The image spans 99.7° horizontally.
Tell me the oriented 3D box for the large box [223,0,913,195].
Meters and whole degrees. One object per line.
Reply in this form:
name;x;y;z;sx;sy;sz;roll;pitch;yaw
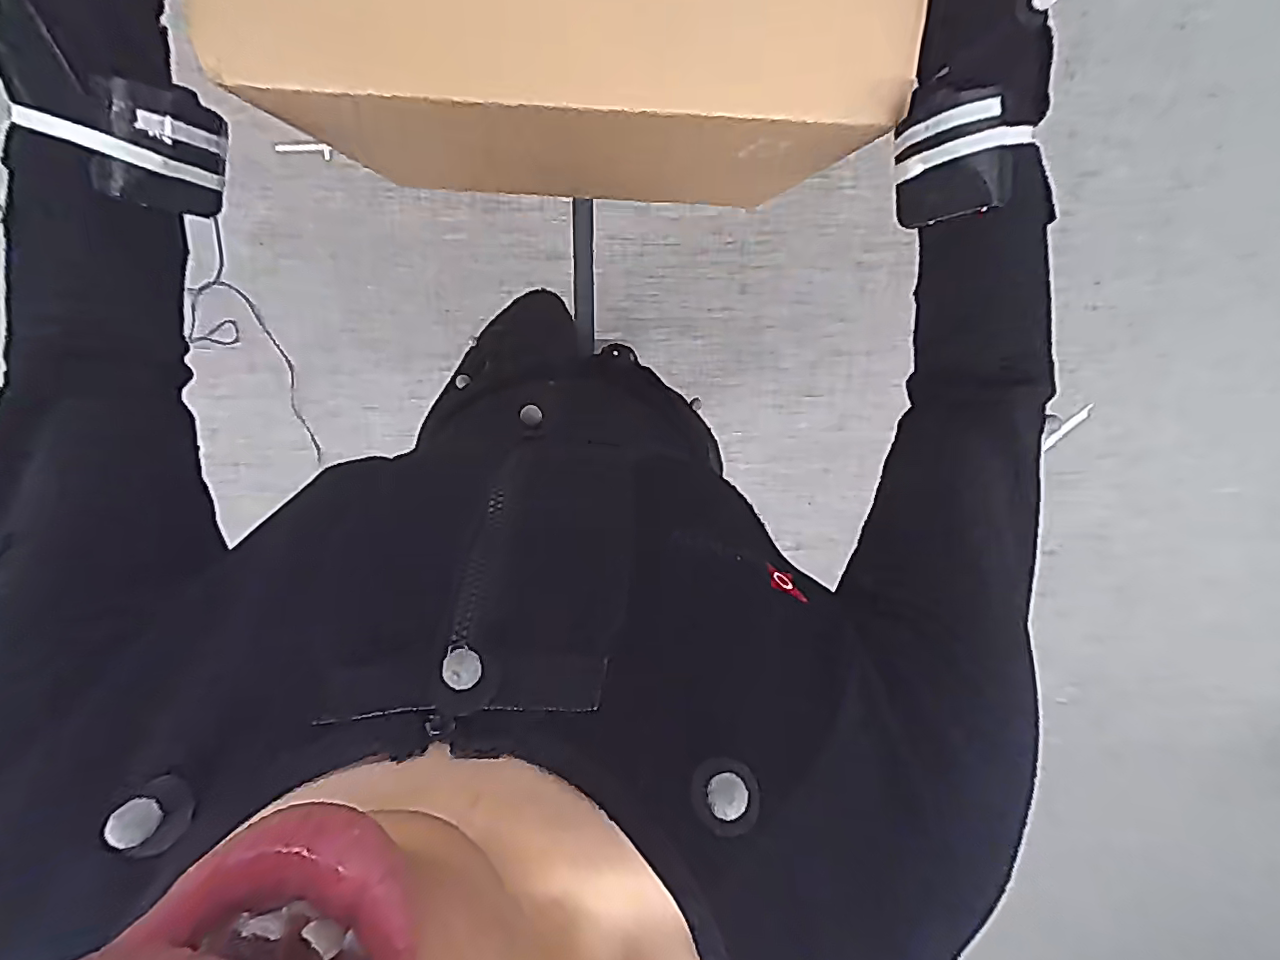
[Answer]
large box;-0.045;-0.423;0.419;0.408;0.320;0.320;0;109;-5
